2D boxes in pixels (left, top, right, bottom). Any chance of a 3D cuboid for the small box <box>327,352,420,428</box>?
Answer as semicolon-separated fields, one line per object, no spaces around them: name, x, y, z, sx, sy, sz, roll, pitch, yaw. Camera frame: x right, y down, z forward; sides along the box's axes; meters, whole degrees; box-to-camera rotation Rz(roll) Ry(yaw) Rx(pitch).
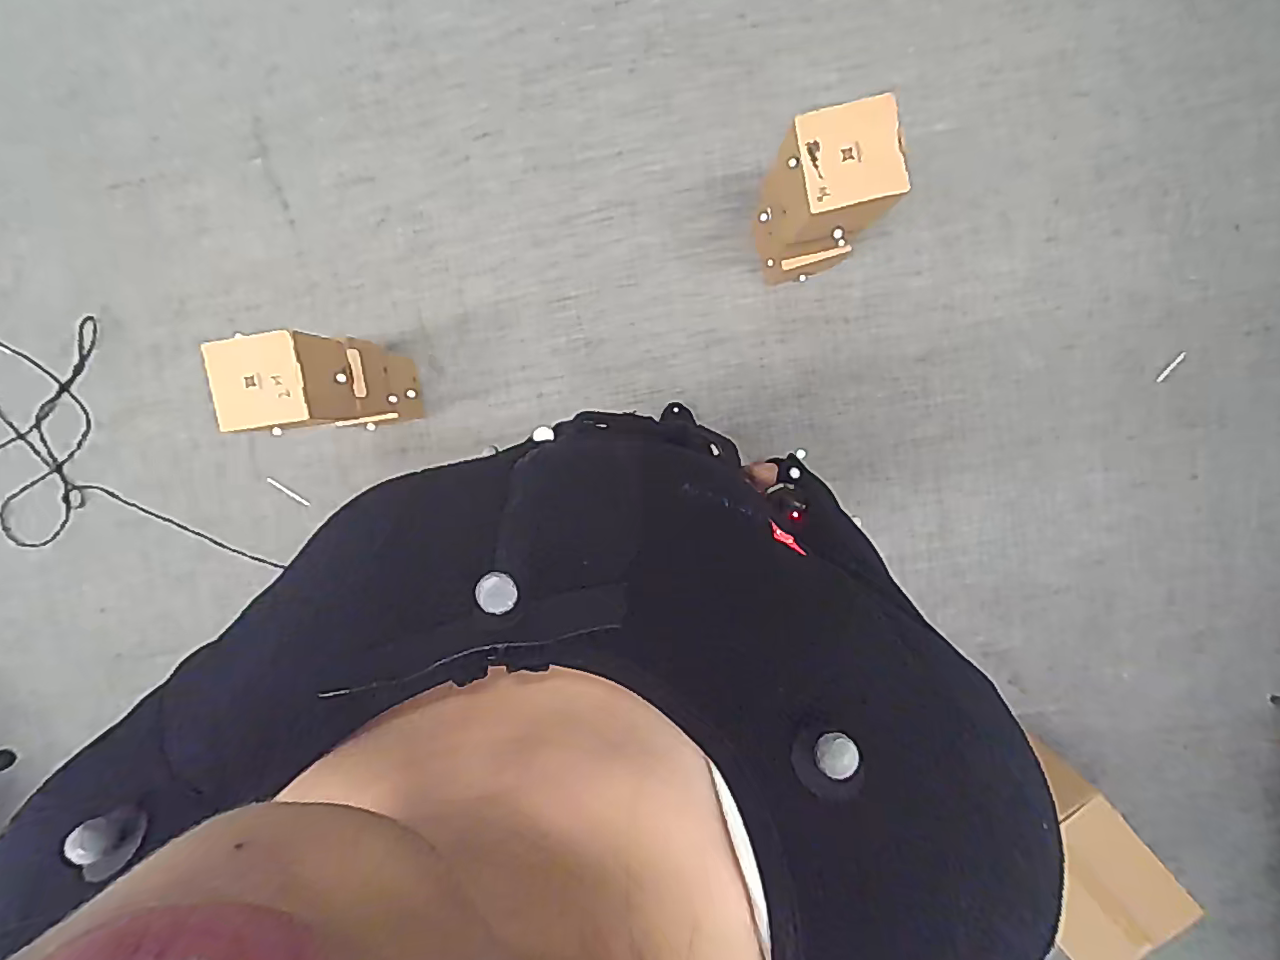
small box;-0.686;-0.228;1.386;0.179;0.176;0.168;-8;96;2

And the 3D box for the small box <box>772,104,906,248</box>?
small box;0.364;-0.557;1.012;0.179;0.176;0.168;-12;96;1

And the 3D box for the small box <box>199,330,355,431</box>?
small box;-0.699;-0.187;1.060;0.179;0.176;0.168;-8;97;3

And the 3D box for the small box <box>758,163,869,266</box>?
small box;0.370;-0.584;1.173;0.179;0.176;0.168;-12;96;3

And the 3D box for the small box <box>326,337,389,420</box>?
small box;-0.691;-0.220;1.222;0.179;0.176;0.168;-7;96;3
